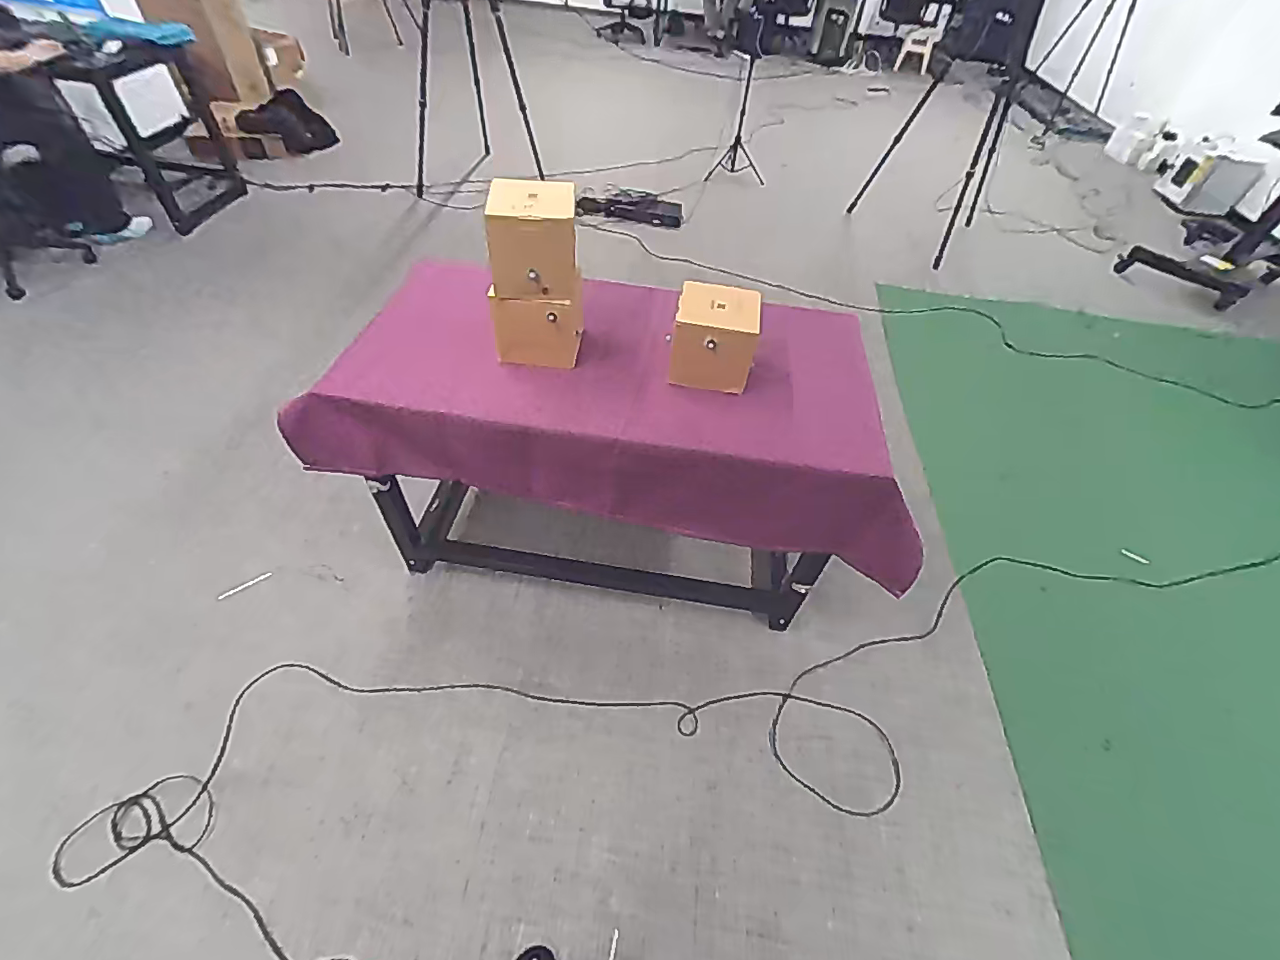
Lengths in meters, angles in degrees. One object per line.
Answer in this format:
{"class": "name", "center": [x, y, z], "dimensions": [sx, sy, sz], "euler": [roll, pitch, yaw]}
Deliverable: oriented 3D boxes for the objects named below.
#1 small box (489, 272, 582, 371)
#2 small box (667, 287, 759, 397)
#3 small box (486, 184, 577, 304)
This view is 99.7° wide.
{"class": "small box", "center": [-0.230, -0.367, 1.231], "dimensions": [0.179, 0.176, 0.168], "euler": [6, 48, -2]}
{"class": "small box", "center": [0.161, -0.307, 1.216], "dimensions": [0.179, 0.176, 0.168], "euler": [11, 49, 3]}
{"class": "small box", "center": [-0.216, -0.485, 1.116], "dimensions": [0.168, 0.176, 0.179], "euler": [0, 49, -6]}
